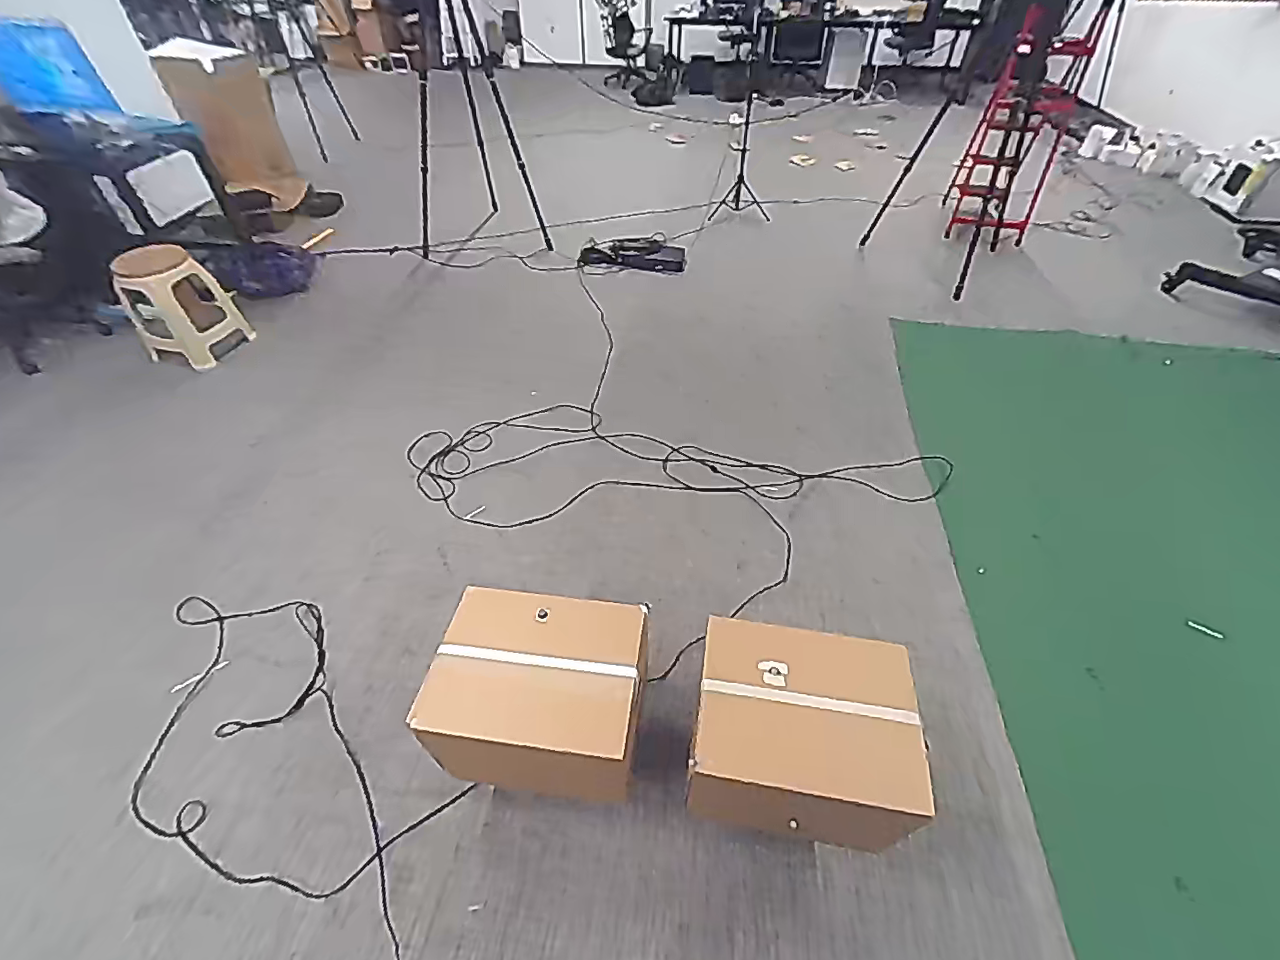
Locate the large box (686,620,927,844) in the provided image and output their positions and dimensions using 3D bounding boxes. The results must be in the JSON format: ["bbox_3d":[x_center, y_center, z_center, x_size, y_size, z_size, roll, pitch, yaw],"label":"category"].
[{"bbox_3d":[0.320,0.532,1.142,0.408,0.320,0.320,7,46,8],"label":"large box"}]
